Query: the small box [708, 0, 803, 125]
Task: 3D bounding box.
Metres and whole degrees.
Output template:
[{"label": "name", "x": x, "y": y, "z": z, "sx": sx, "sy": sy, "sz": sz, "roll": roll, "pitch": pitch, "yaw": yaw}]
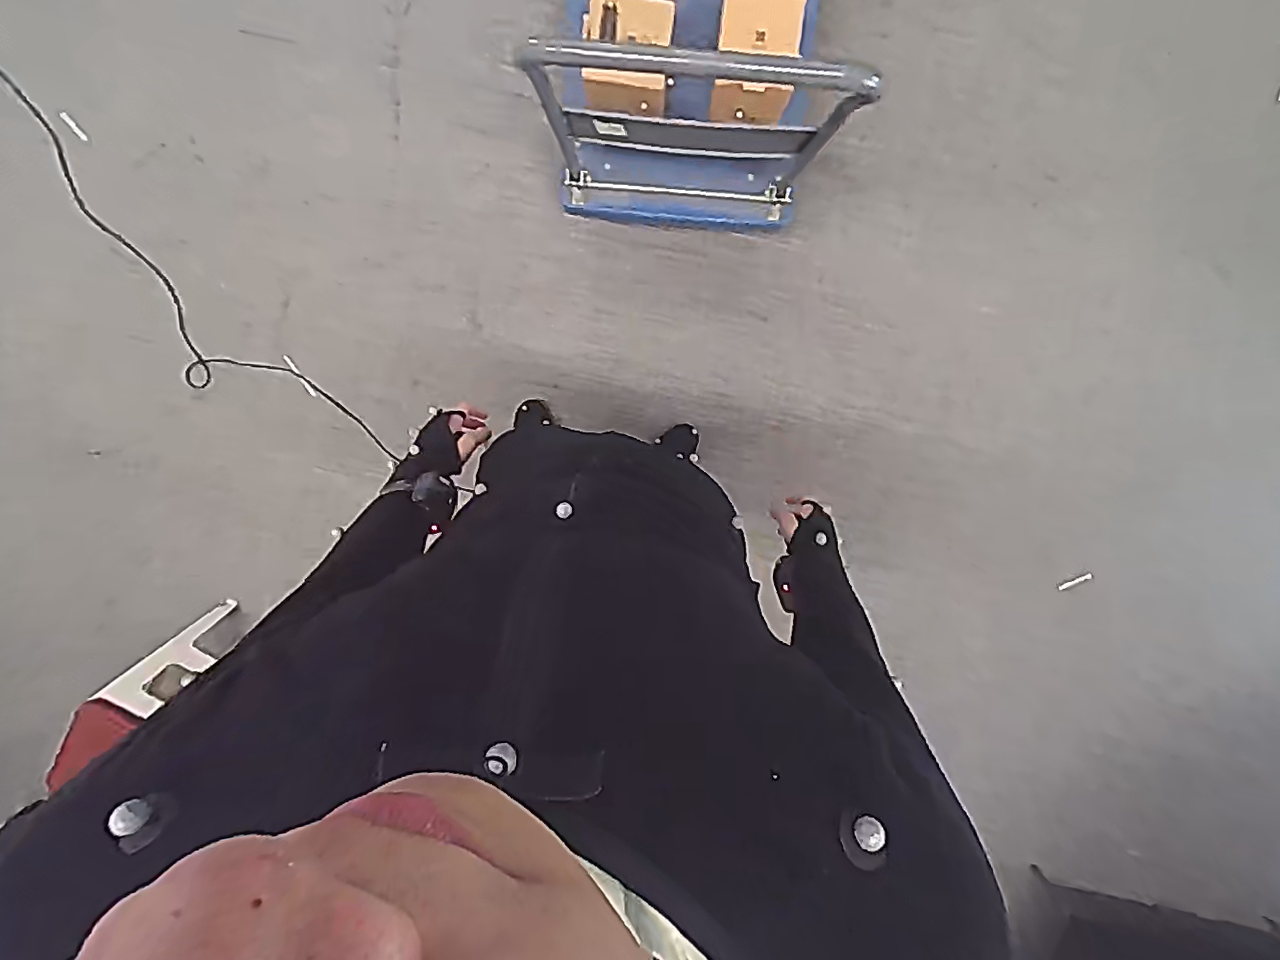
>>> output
[{"label": "small box", "x": 0.248, "y": -0.932, "z": 1.205, "sx": 0.168, "sy": 0.176, "sz": 0.179, "roll": 6, "pitch": 101, "yaw": 0}]
